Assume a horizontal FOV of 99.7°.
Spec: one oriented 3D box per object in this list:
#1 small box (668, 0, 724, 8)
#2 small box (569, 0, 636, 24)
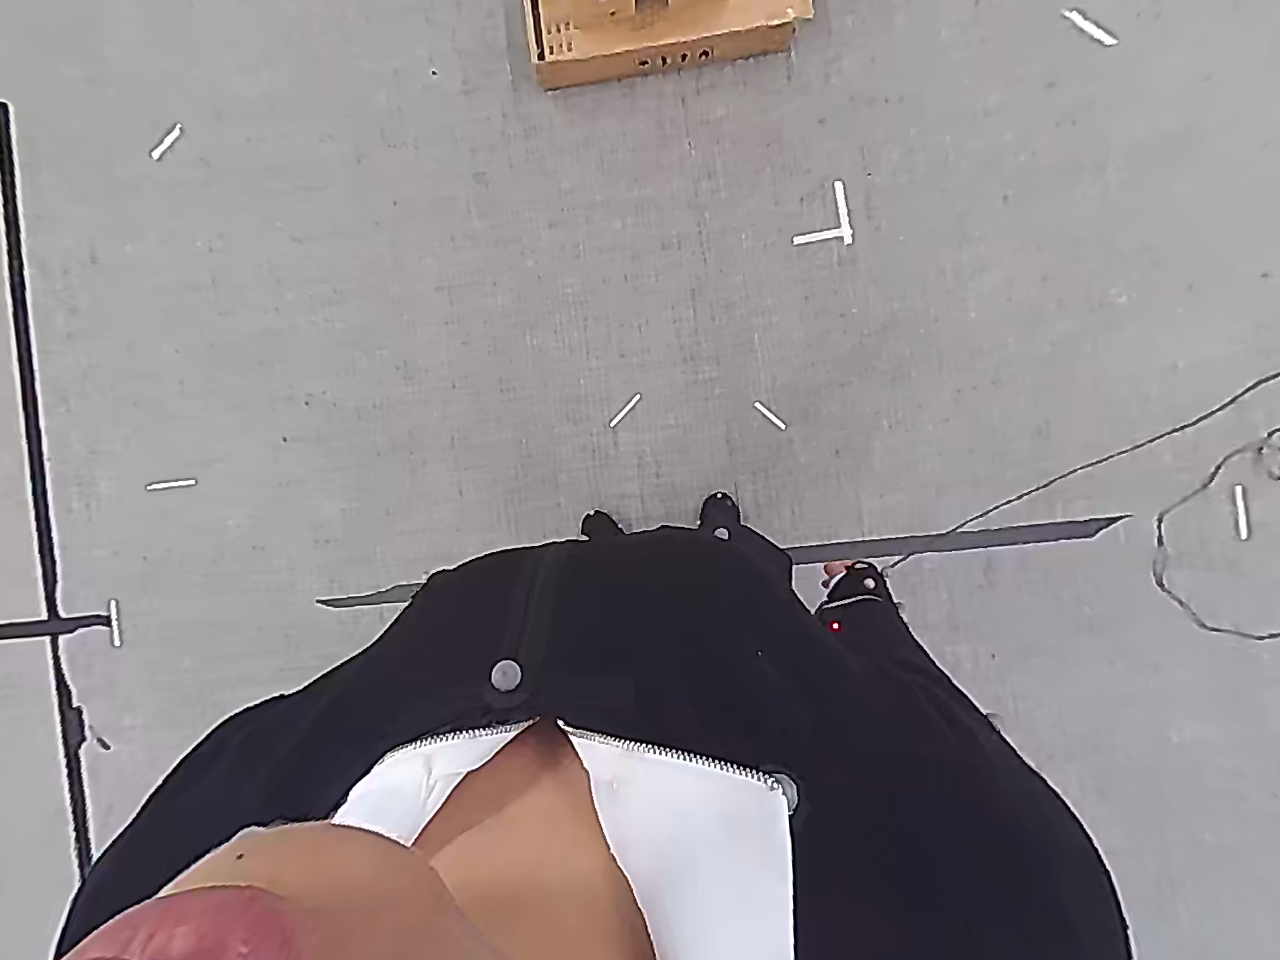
[{"bbox_3d":[0.138,-1.316,1.318,0.168,0.176,0.179,-8,88,4],"label":"small box"},{"bbox_3d":[-0.106,-1.277,1.333,0.168,0.176,0.179,-9,89,4],"label":"small box"}]
